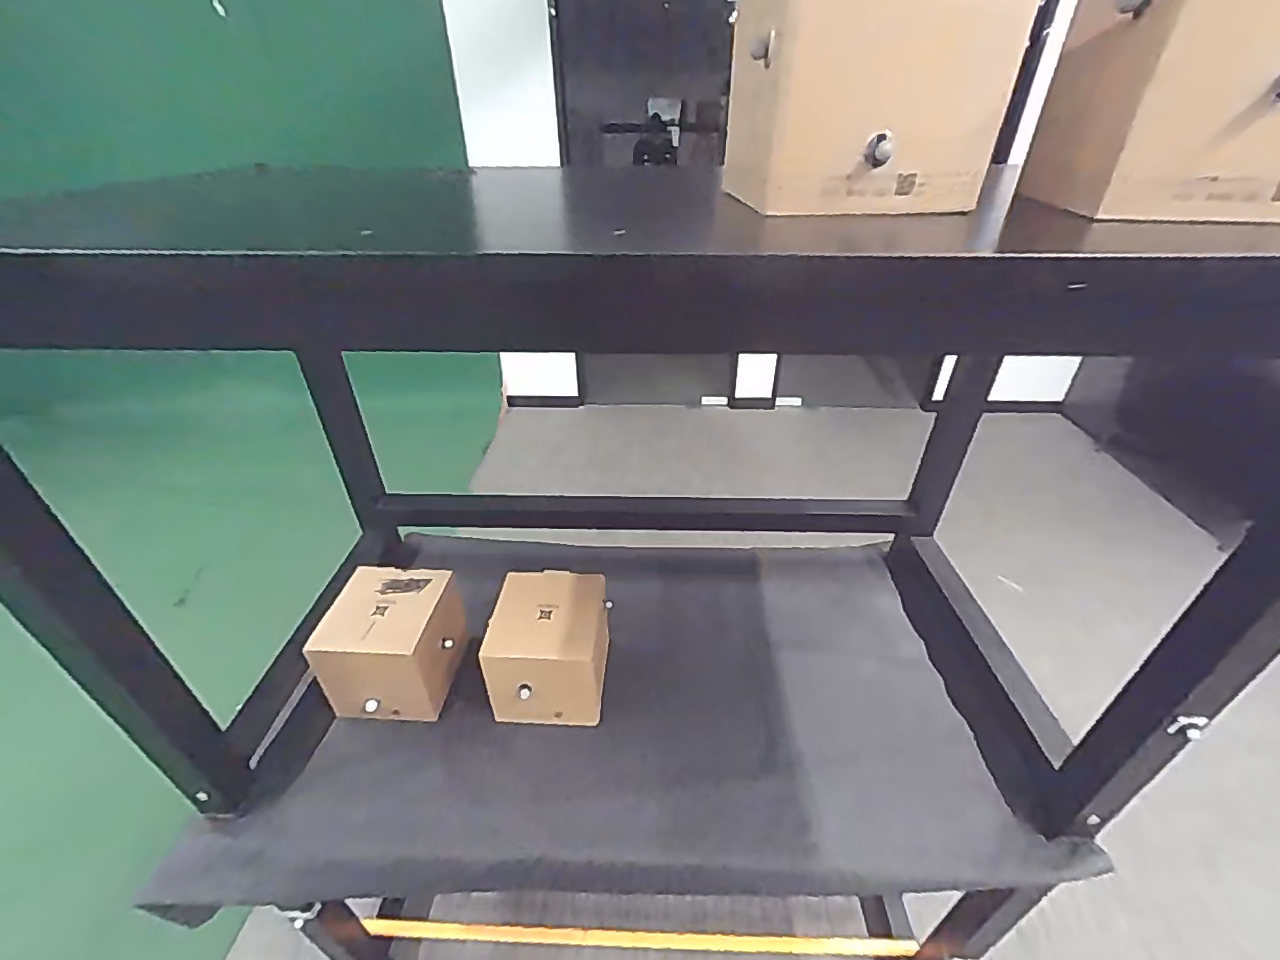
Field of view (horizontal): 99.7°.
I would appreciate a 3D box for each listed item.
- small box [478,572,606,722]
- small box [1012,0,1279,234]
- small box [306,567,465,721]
[{"bbox_3d":[-0.147,0.272,0.884,0.168,0.176,0.179,1,34,2],"label":"small box"},{"bbox_3d":[0.415,-0.285,0.396,0.168,0.176,0.179,7,35,11],"label":"small box"},{"bbox_3d":[-0.400,0.265,0.890,0.168,0.176,0.179,1,34,2],"label":"small box"}]
